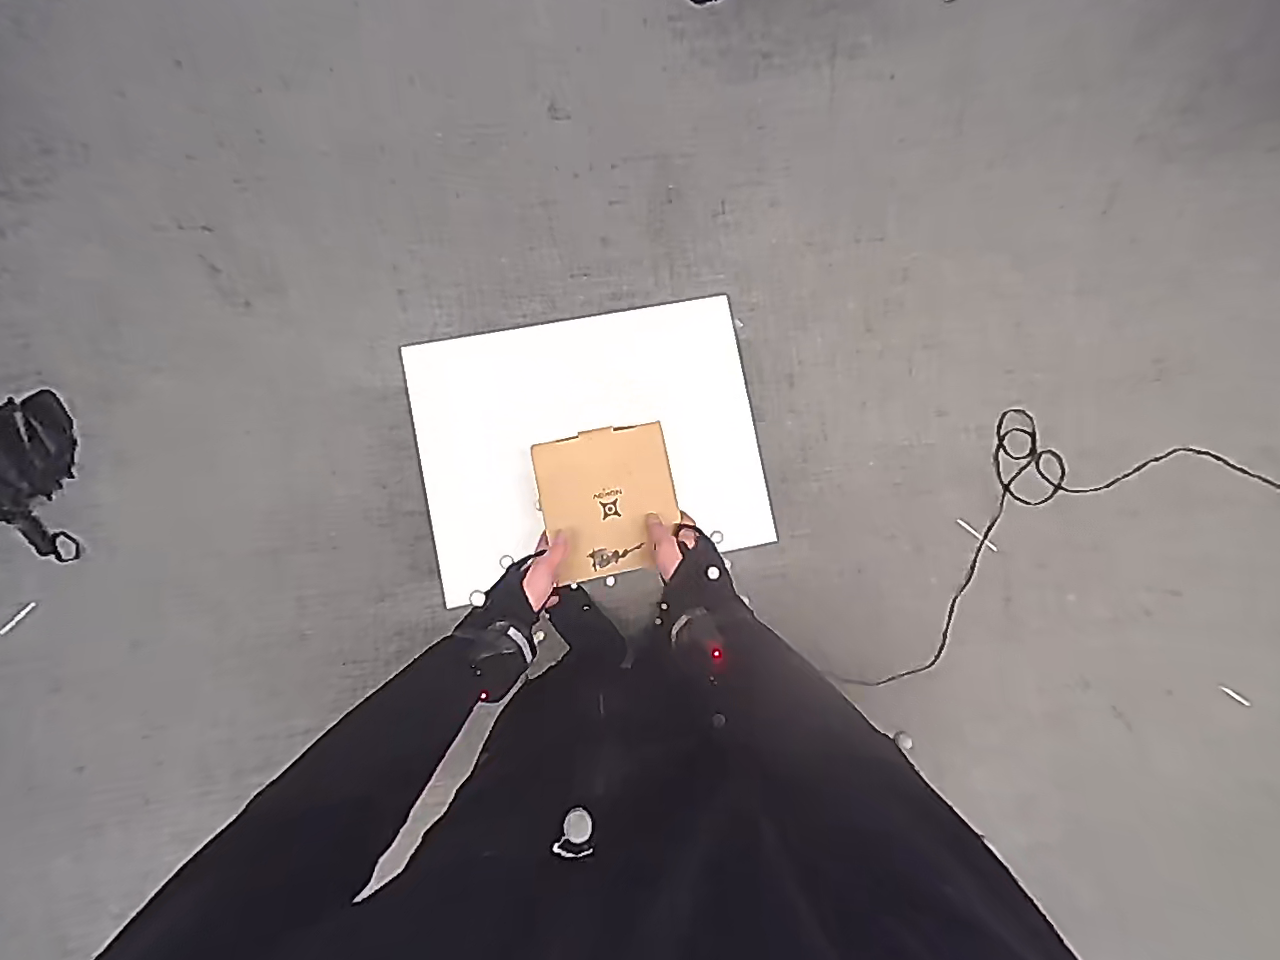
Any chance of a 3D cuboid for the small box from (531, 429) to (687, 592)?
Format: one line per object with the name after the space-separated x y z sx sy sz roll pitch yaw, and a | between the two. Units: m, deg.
-0.046 0.044 0.739 0.168 0.176 0.179 -12 86 -6 | small box
